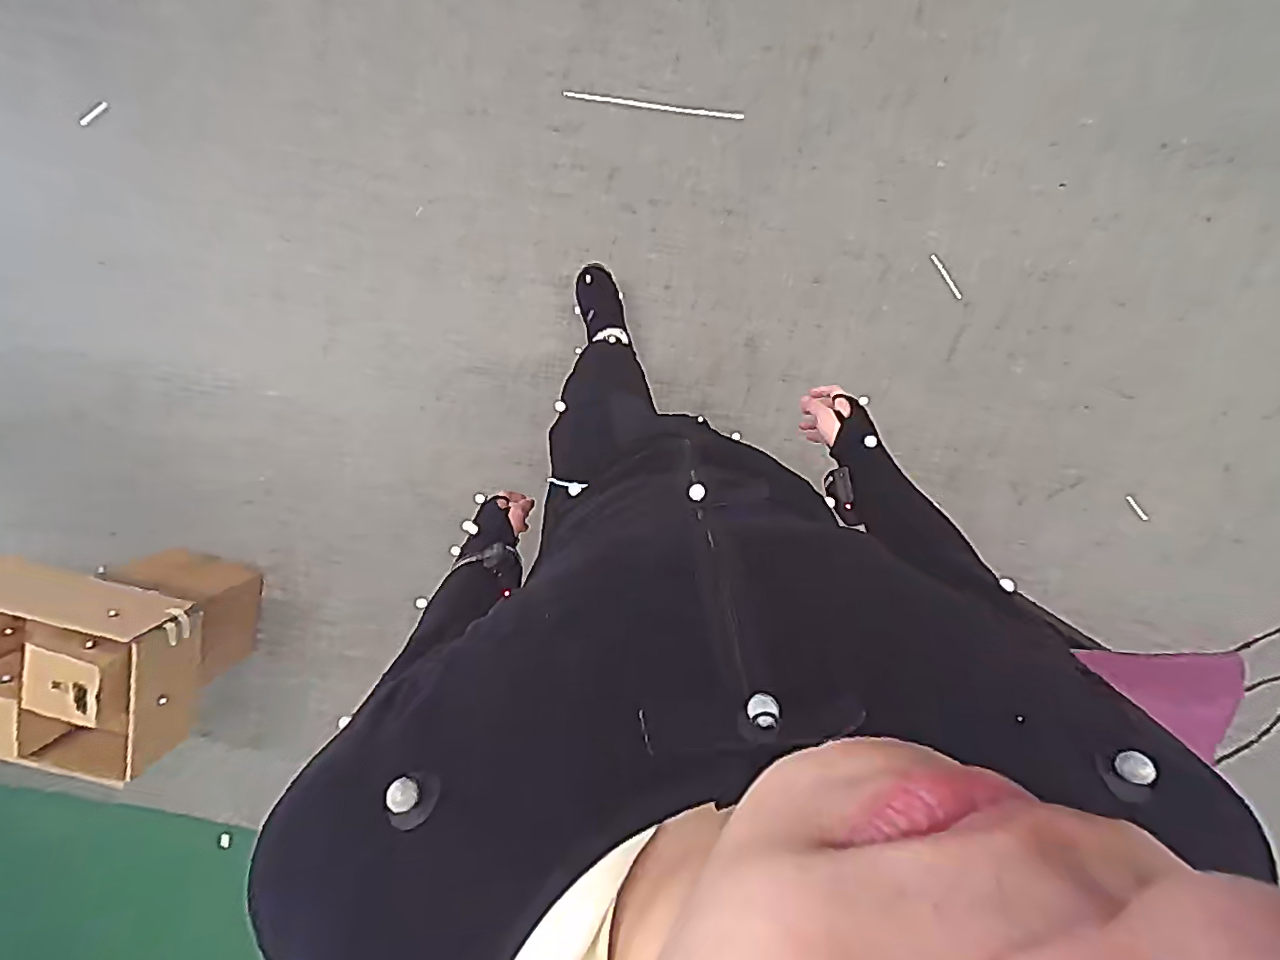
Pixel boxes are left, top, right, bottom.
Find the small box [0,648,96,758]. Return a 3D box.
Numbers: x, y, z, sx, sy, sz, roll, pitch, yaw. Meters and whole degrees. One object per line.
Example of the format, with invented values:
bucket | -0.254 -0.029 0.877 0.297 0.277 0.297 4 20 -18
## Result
small box | -1.484 0.532 1.312 0.179 0.176 0.168 14 101 0
